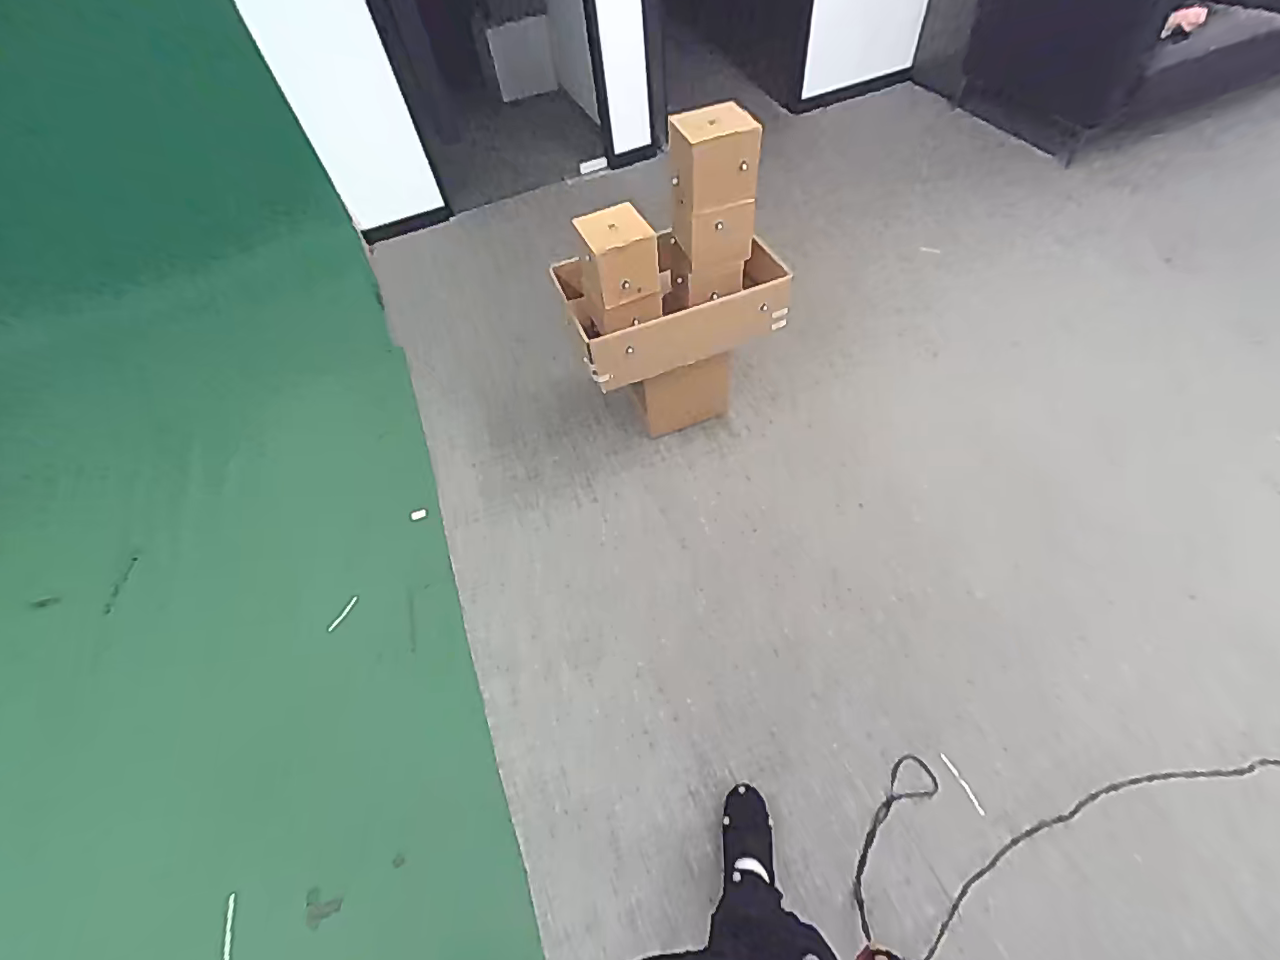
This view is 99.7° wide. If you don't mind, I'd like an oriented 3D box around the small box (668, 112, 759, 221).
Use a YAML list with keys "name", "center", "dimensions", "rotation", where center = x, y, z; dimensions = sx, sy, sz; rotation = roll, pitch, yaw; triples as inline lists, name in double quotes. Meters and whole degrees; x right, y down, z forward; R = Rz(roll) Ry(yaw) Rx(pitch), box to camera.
- name: "small box"
  center: [0.181, -0.786, 1.362]
  dimensions: [0.179, 0.176, 0.168]
  rotation: [-18, 54, -6]

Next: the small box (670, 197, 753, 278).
- name: "small box"
  center: [0.194, -0.682, 1.487]
  dimensions: [0.179, 0.176, 0.168]
  rotation: [-17, 54, -7]
